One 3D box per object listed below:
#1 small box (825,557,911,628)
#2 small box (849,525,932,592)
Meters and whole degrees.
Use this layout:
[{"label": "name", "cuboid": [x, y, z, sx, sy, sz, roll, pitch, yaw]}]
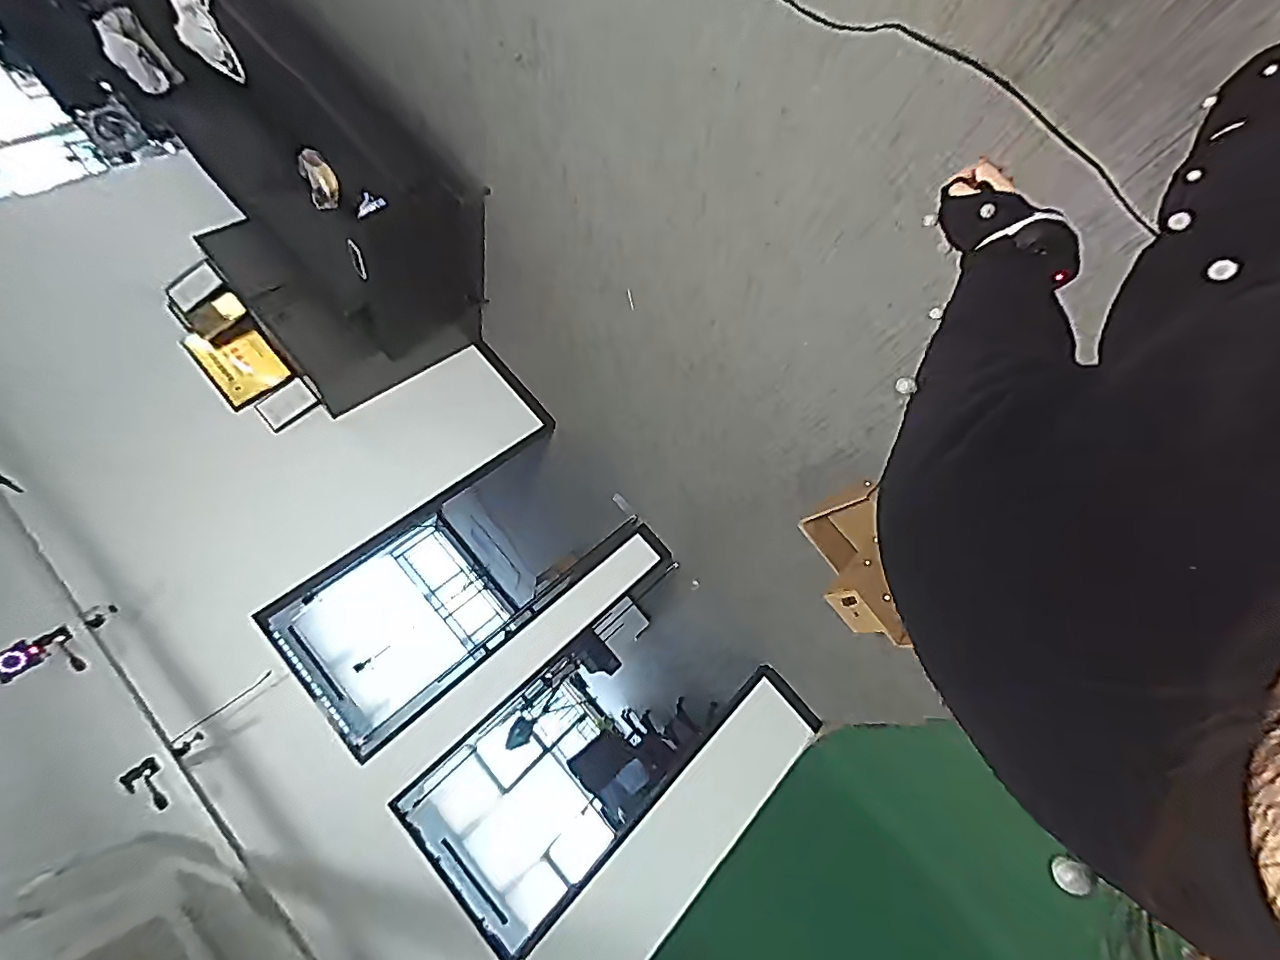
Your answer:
[{"label": "small box", "cuboid": [0.779, 0.379, 1.847, 0.179, 0.176, 0.168, 50, 154, 0]}, {"label": "small box", "cuboid": [0.893, 0.286, 1.921, 0.179, 0.176, 0.168, 51, 153, 1]}]
